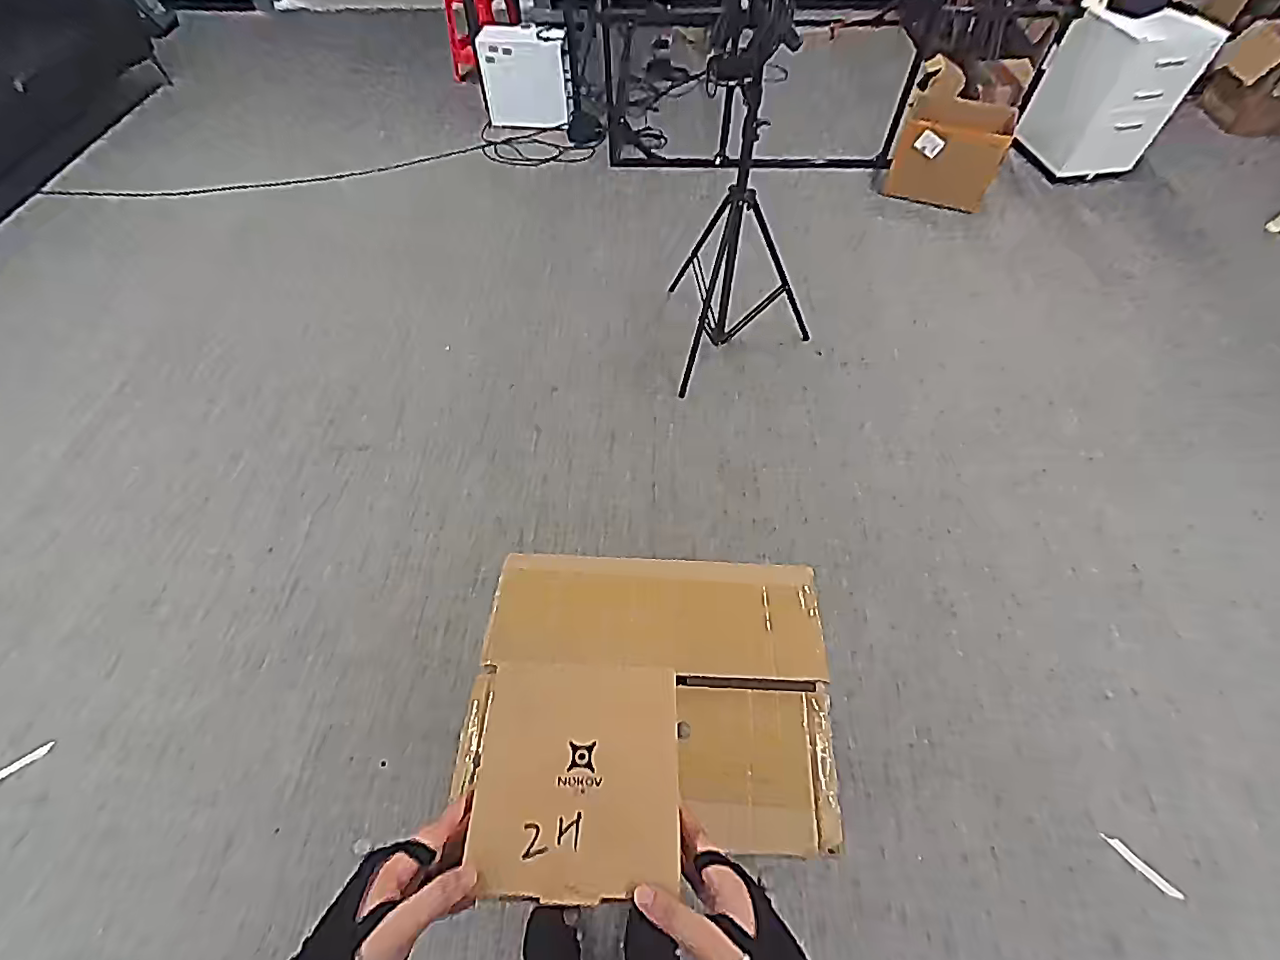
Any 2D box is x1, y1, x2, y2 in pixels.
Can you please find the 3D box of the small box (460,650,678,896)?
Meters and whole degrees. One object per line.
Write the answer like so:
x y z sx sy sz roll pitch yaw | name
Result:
-0.055 0.281 0.515 0.168 0.176 0.179 3 51 -1 | small box
